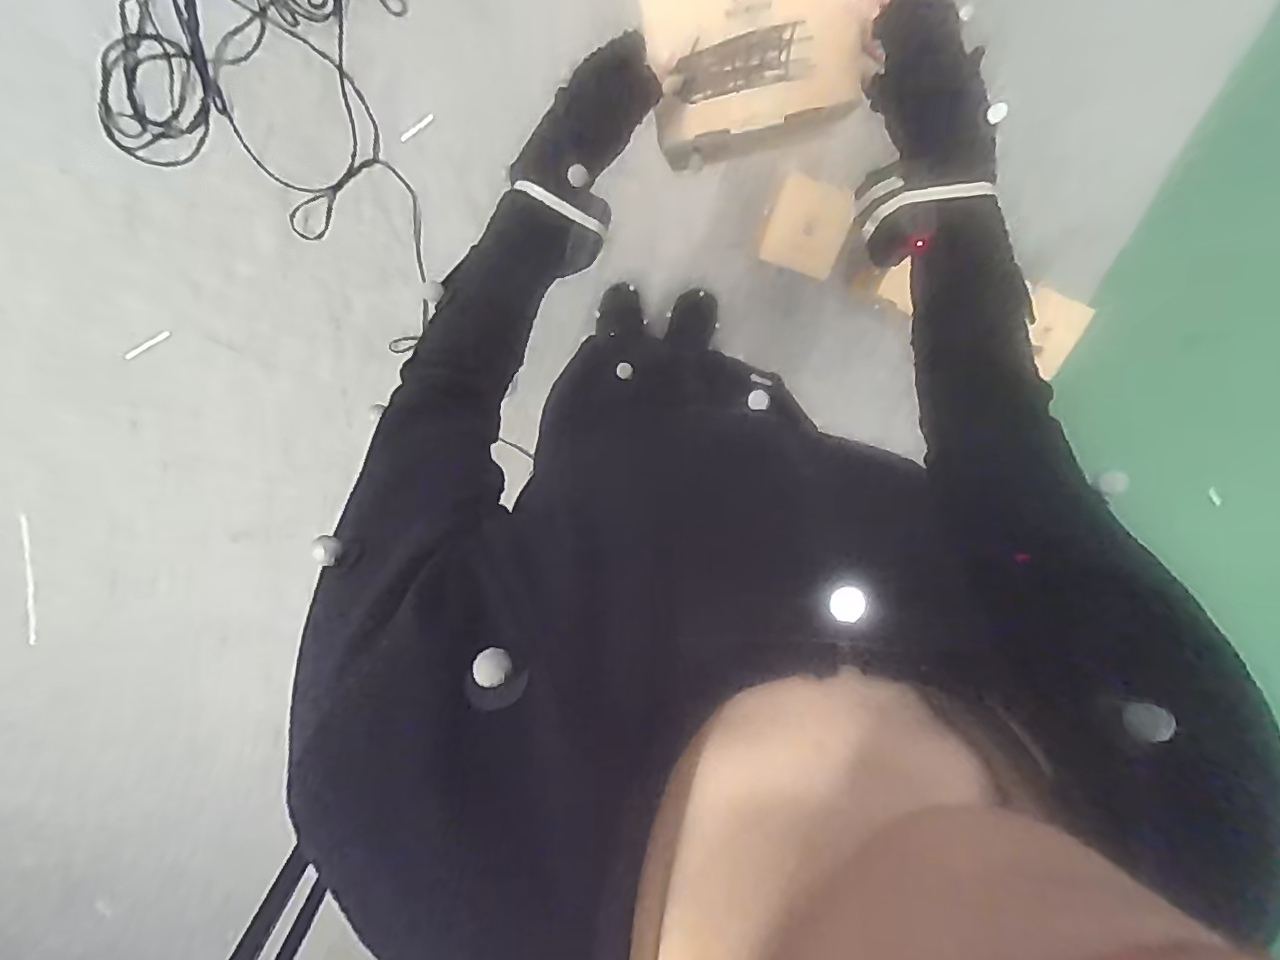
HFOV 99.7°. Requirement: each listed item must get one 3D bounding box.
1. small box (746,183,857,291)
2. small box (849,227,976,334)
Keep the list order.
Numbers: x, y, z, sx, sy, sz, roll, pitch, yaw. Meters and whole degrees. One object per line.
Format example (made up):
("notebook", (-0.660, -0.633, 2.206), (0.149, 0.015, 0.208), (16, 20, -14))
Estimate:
("small box", (0.356, -0.548, 1.233), (0.168, 0.176, 0.179), (17, 111, -6))
("small box", (0.627, -0.467, 1.271), (0.168, 0.176, 0.179), (25, 108, -10))
